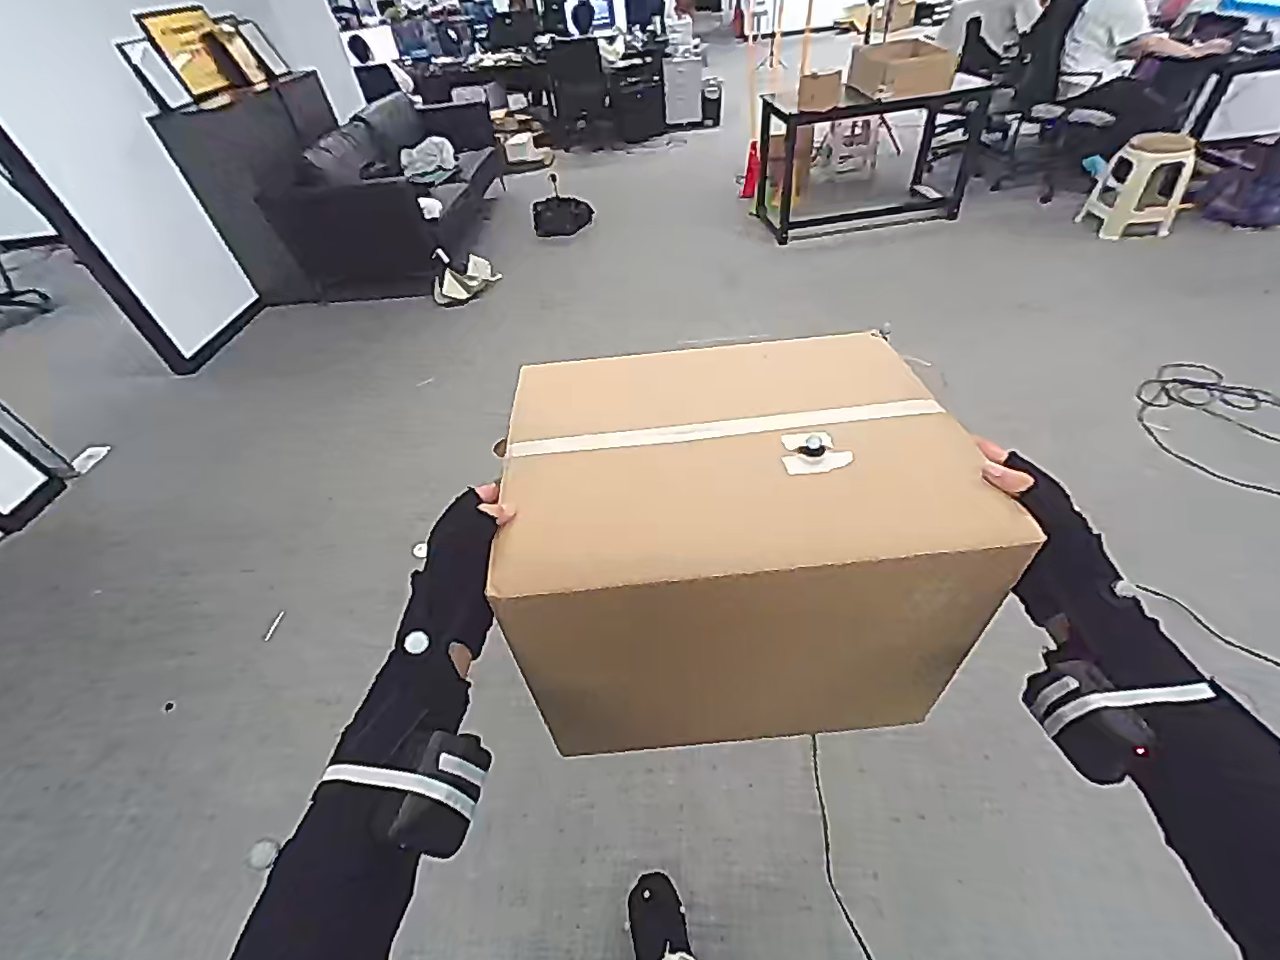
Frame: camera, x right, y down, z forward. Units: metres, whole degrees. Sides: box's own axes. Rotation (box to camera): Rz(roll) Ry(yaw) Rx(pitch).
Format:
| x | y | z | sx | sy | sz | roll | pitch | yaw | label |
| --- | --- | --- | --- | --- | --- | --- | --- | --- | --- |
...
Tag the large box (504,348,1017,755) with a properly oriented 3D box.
| x | y | z | sx | sy | sz | roll | pitch | yaw | label |
| --- | --- | --- | --- | --- | --- | --- | --- | --- | --- |
| 0.088 | 0.077 | 0.615 | 0.408 | 0.320 | 0.320 | -6 | 43 | -1 | large box |
